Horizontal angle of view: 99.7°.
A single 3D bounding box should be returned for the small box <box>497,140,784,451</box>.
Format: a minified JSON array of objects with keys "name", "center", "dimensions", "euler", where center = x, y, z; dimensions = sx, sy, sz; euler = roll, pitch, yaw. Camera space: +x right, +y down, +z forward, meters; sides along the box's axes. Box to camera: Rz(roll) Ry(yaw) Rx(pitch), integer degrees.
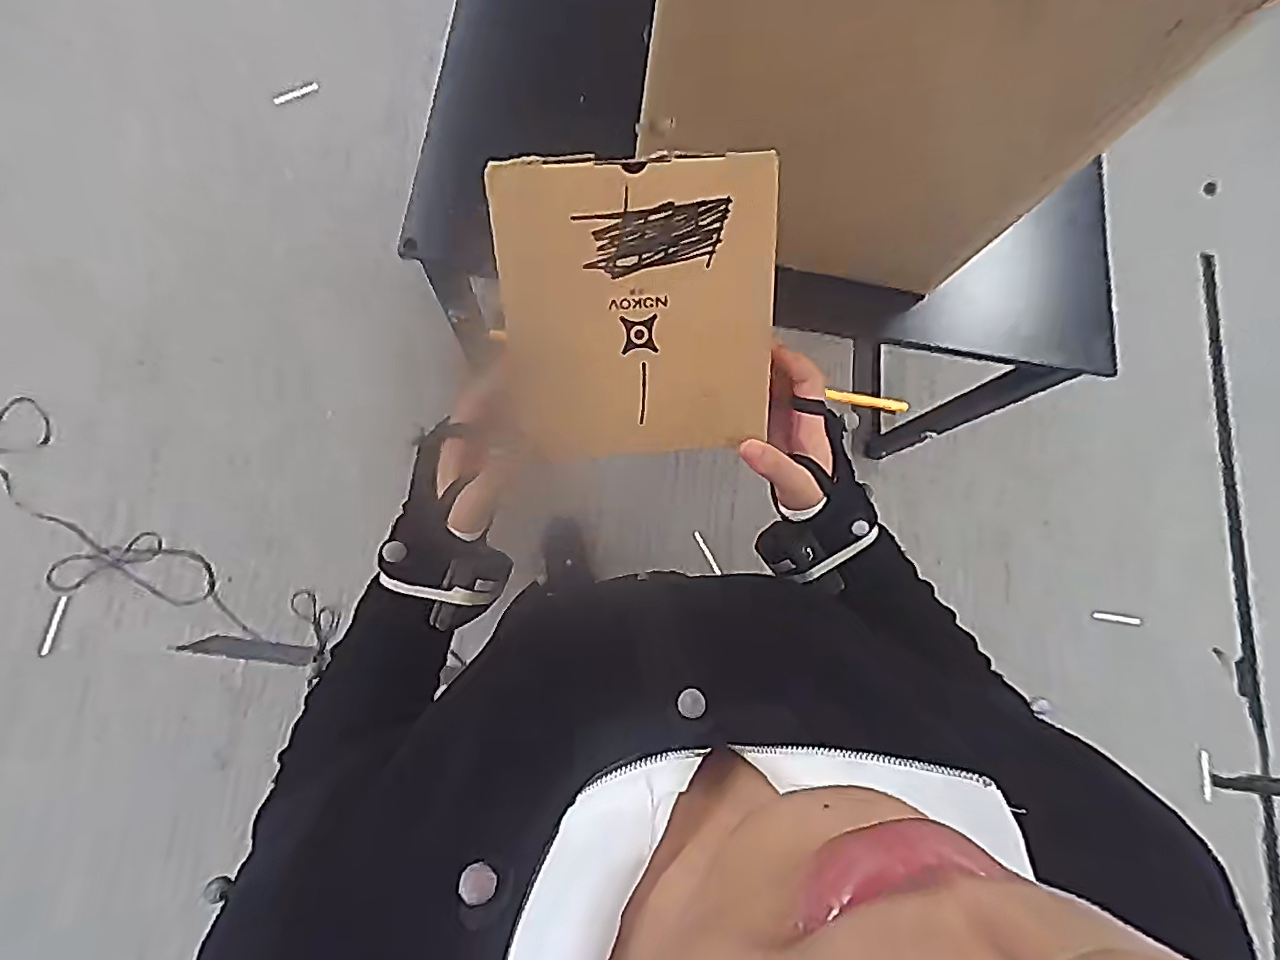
[{"name":"small box","center":[-0.003,-0.133,0.403],"dimensions":[0.168,0.176,0.179],"euler":[-4,111,-3]}]
